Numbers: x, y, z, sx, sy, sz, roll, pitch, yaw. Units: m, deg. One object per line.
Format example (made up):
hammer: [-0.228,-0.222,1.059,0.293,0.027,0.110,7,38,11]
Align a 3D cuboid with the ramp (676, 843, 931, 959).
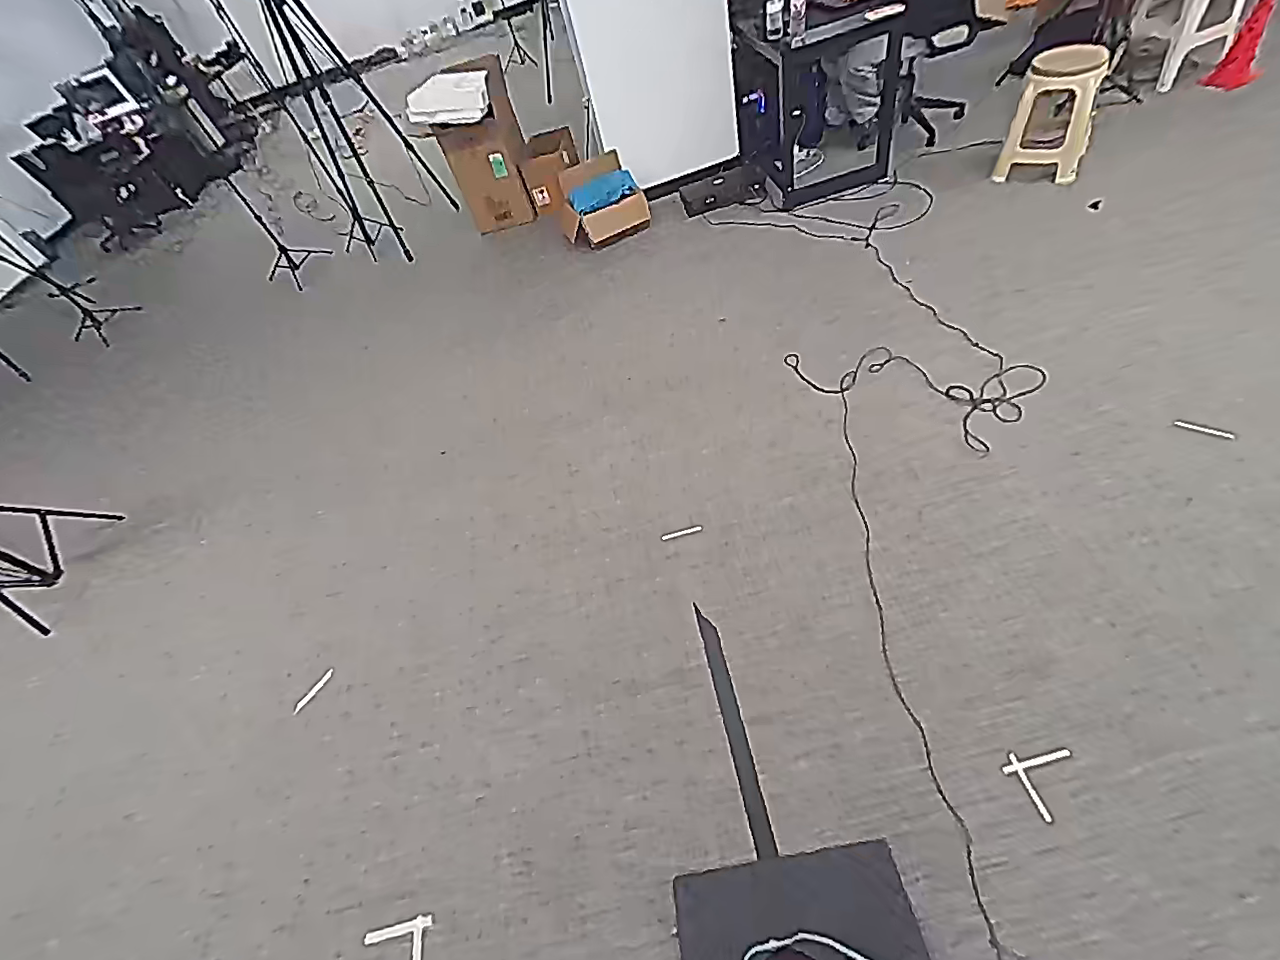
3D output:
ramp: [0.356,1.177,0.836,0.509,0.206,0.991,-17,48,5]
